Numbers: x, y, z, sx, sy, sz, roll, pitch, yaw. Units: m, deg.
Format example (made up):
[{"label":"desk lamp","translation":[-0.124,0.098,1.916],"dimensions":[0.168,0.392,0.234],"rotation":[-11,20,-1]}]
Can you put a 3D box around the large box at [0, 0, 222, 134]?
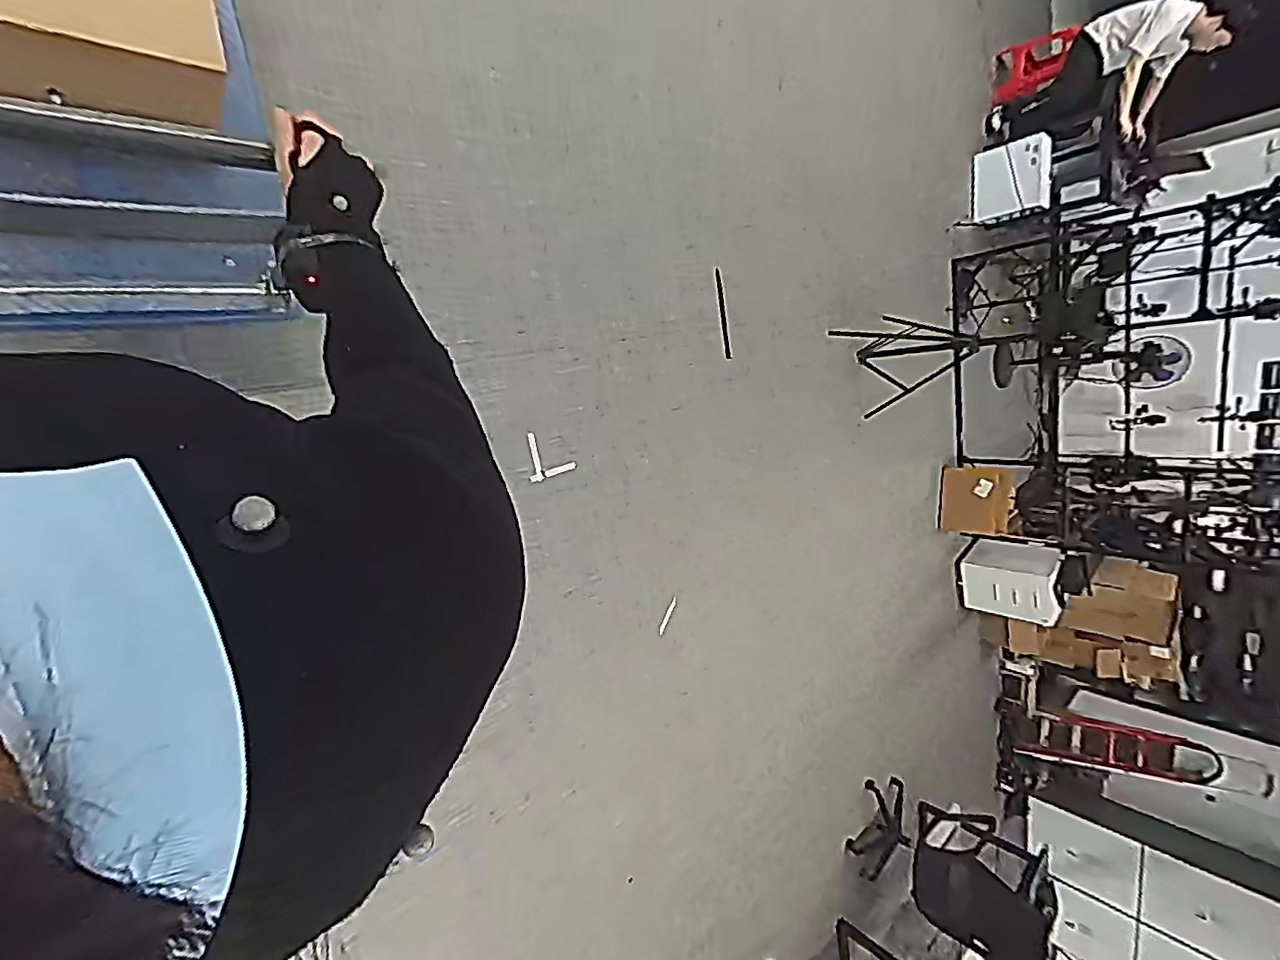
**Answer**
[{"label":"large box","translation":[-0.865,-0.732,0.744],"dimensions":[0.408,0.320,0.320],"rotation":[-14,103,-38]}]
